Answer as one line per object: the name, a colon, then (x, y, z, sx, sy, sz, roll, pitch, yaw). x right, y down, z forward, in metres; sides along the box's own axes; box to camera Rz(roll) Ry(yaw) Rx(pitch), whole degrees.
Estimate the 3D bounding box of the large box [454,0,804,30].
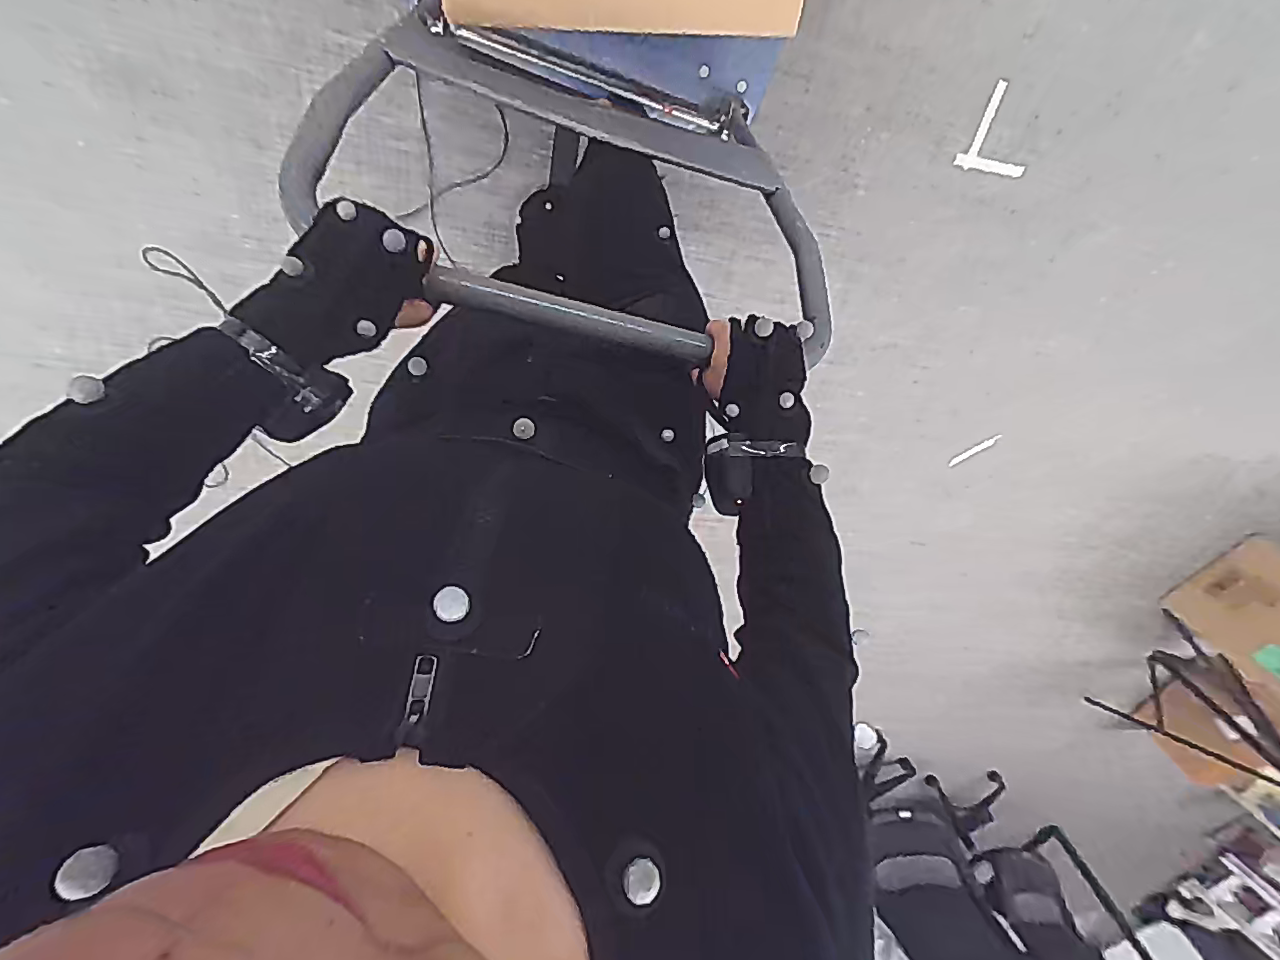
large box: (-0.022, -0.735, 0.616, 0.408, 0.320, 0.320, -3, 137, -5)
